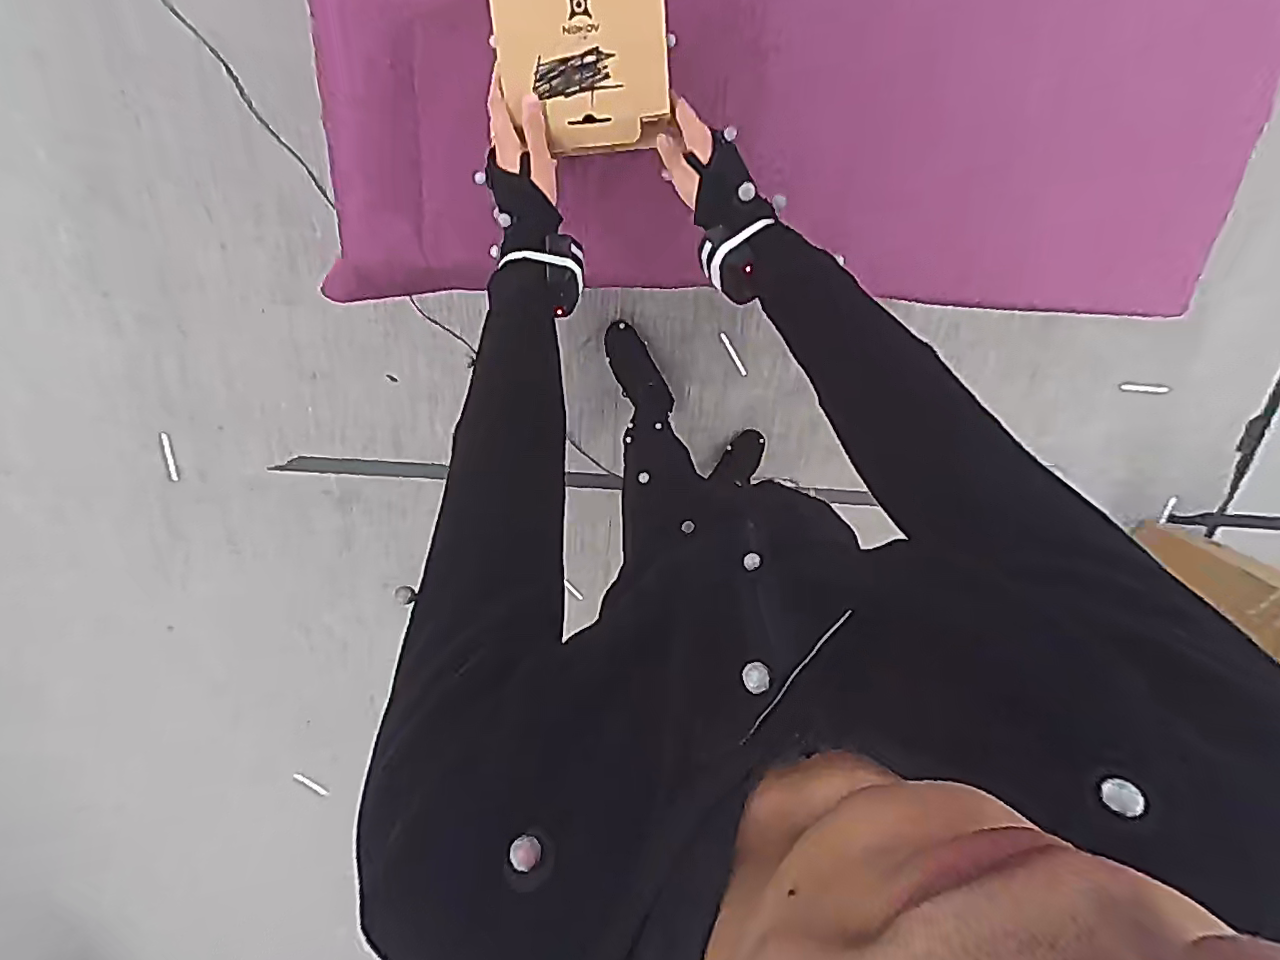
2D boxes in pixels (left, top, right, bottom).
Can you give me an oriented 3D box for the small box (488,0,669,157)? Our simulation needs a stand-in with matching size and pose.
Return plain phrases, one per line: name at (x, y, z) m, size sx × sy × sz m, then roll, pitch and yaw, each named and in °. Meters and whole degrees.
small box at (-0.061, -0.460, 0.579) m, size 0.168 × 0.176 × 0.179 m, roll -6°, pitch 111°, yaw -1°
